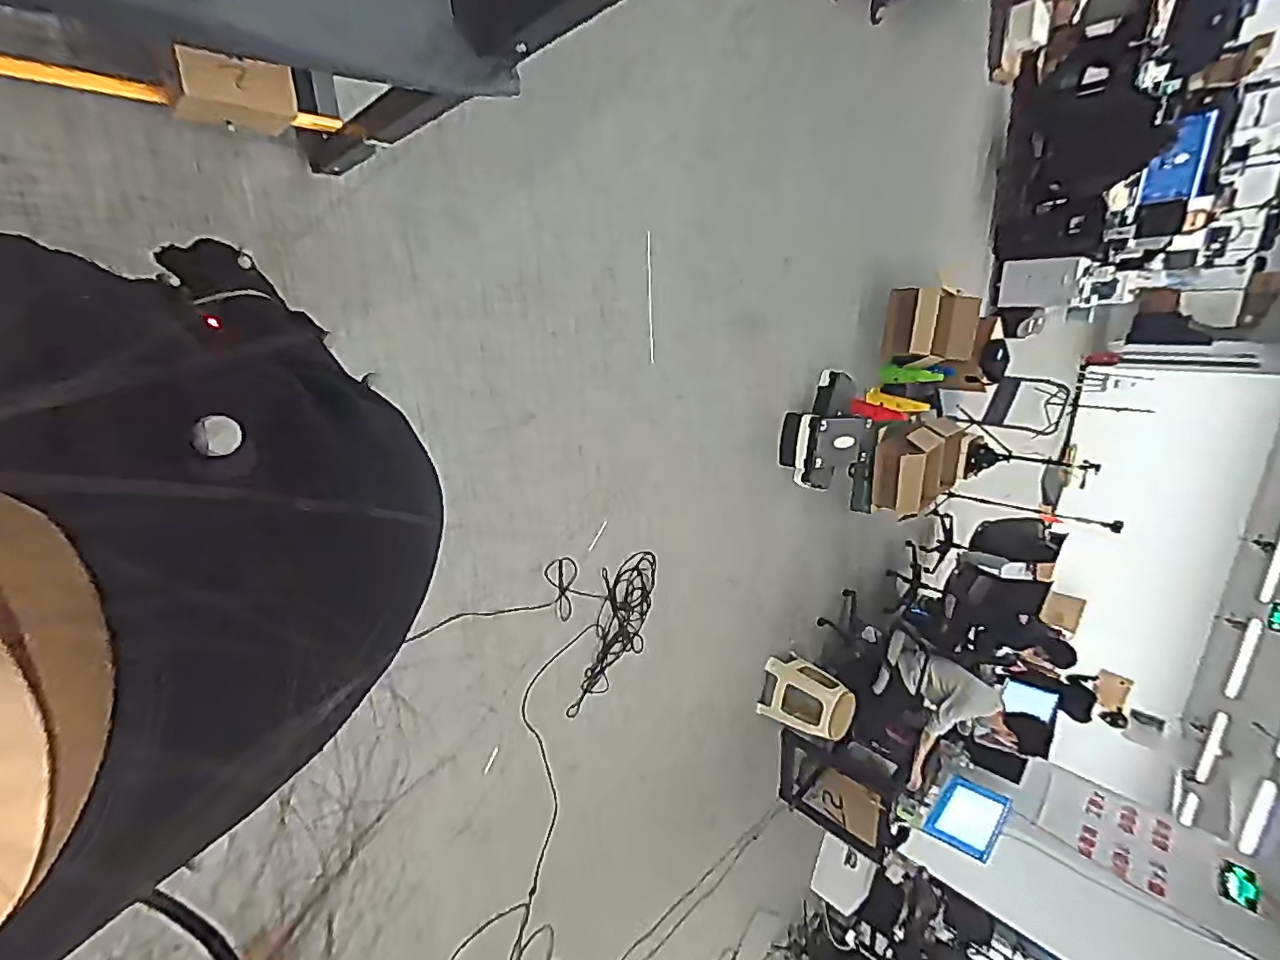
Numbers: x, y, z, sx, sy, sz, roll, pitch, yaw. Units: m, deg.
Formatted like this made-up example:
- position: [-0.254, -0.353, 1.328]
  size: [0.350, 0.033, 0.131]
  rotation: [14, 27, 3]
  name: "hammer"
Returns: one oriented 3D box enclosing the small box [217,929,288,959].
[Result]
- position: [-1.011, 1.333, 1.407]
  size: [0.168, 0.176, 0.179]
  rotation: [-16, 112, -42]
  name: "small box"
